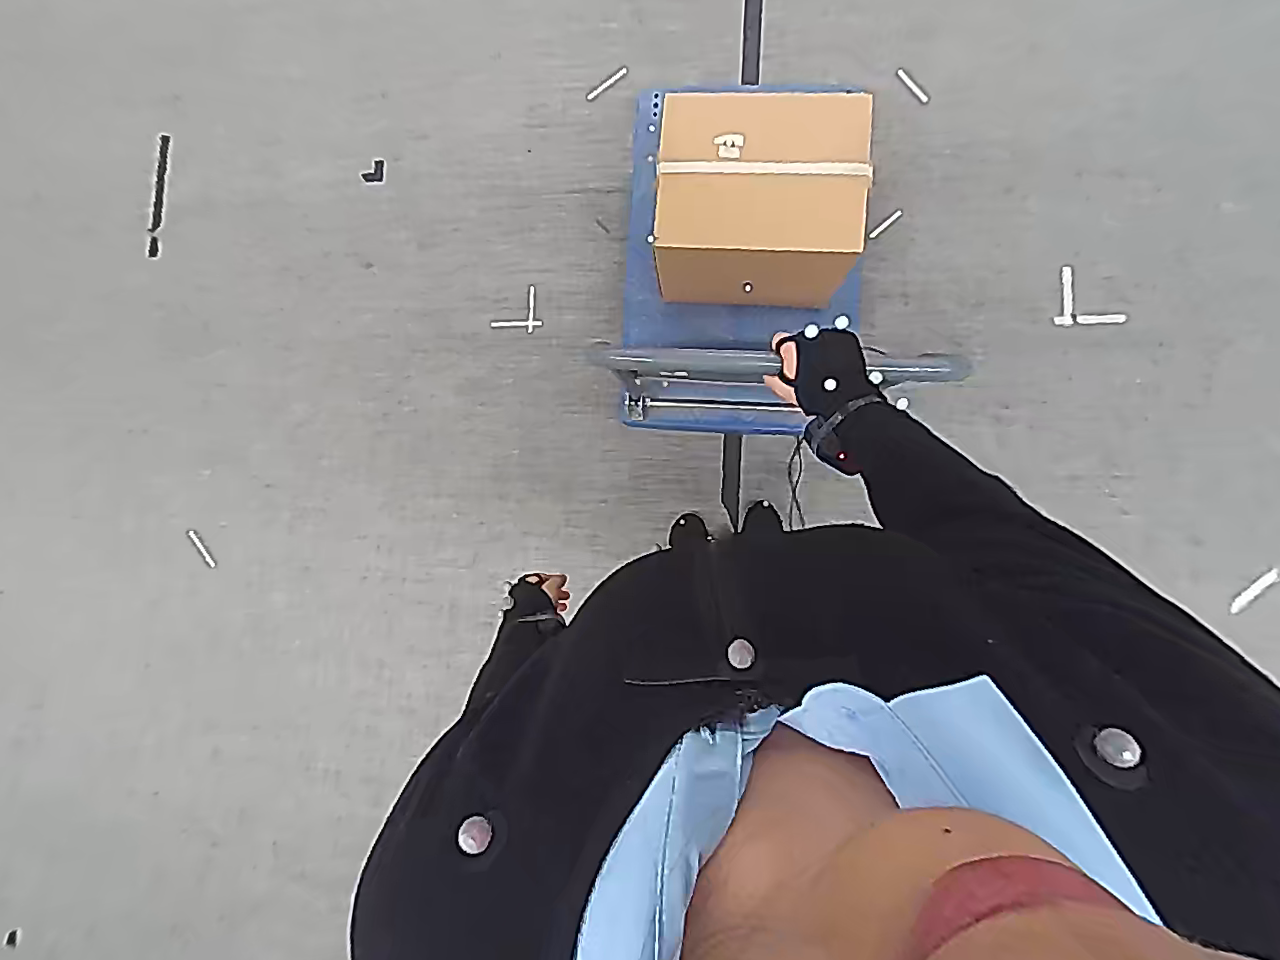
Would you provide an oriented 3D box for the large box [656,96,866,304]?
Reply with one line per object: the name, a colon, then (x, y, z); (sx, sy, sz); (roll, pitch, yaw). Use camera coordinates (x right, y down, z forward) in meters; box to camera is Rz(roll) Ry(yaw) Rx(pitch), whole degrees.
large box: (0.257, -0.598, 1.217); (0.408, 0.320, 0.320); (4, 87, 7)
